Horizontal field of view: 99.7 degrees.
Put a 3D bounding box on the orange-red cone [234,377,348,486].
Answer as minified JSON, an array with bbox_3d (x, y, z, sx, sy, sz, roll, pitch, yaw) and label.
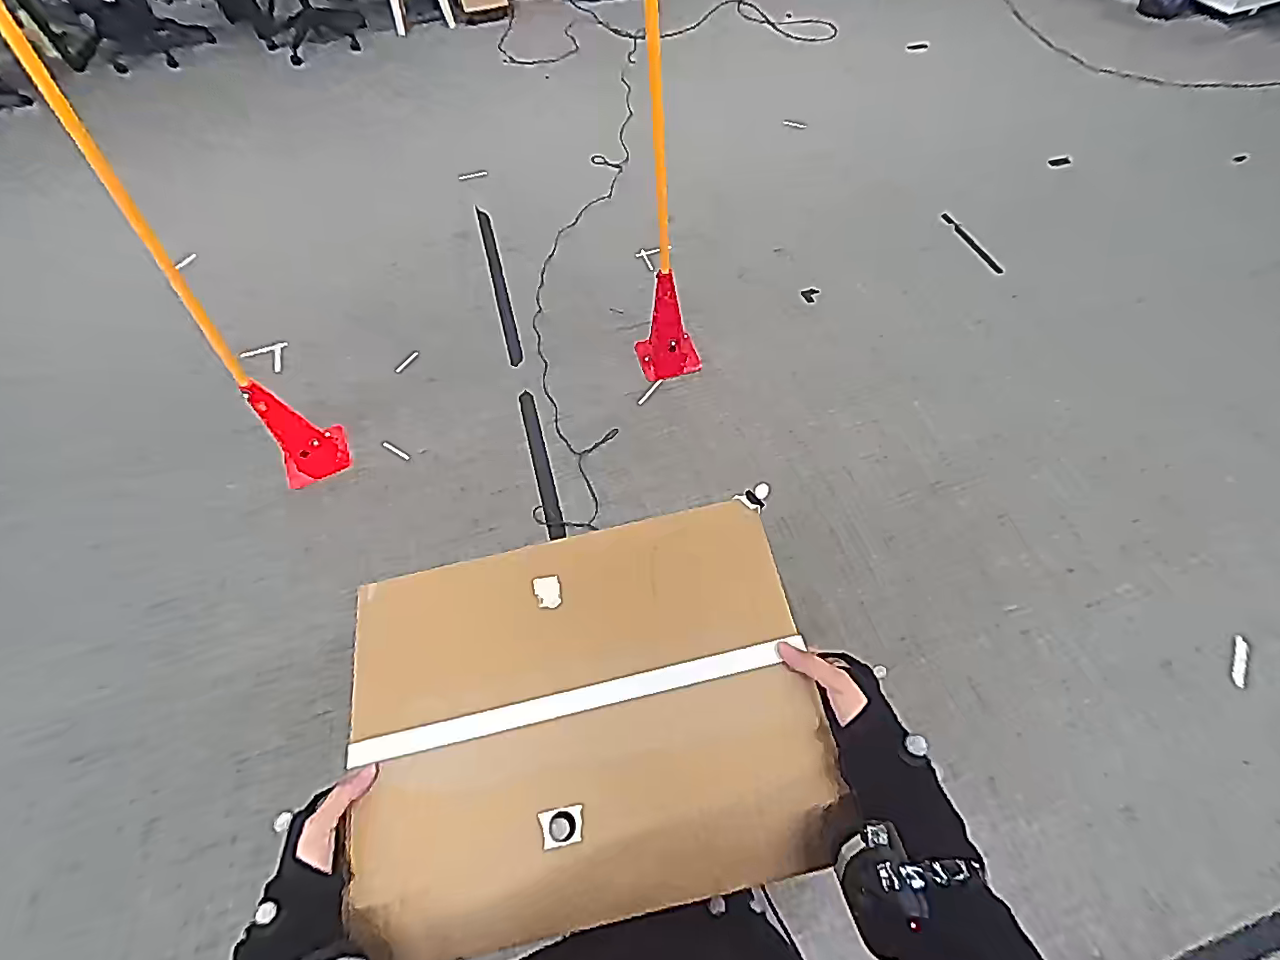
[{"bbox_3d":[-1.063,-0.172,1.601,0.199,0.360,0.198,-25,59,-10],"label":"orange-red cone"}]
